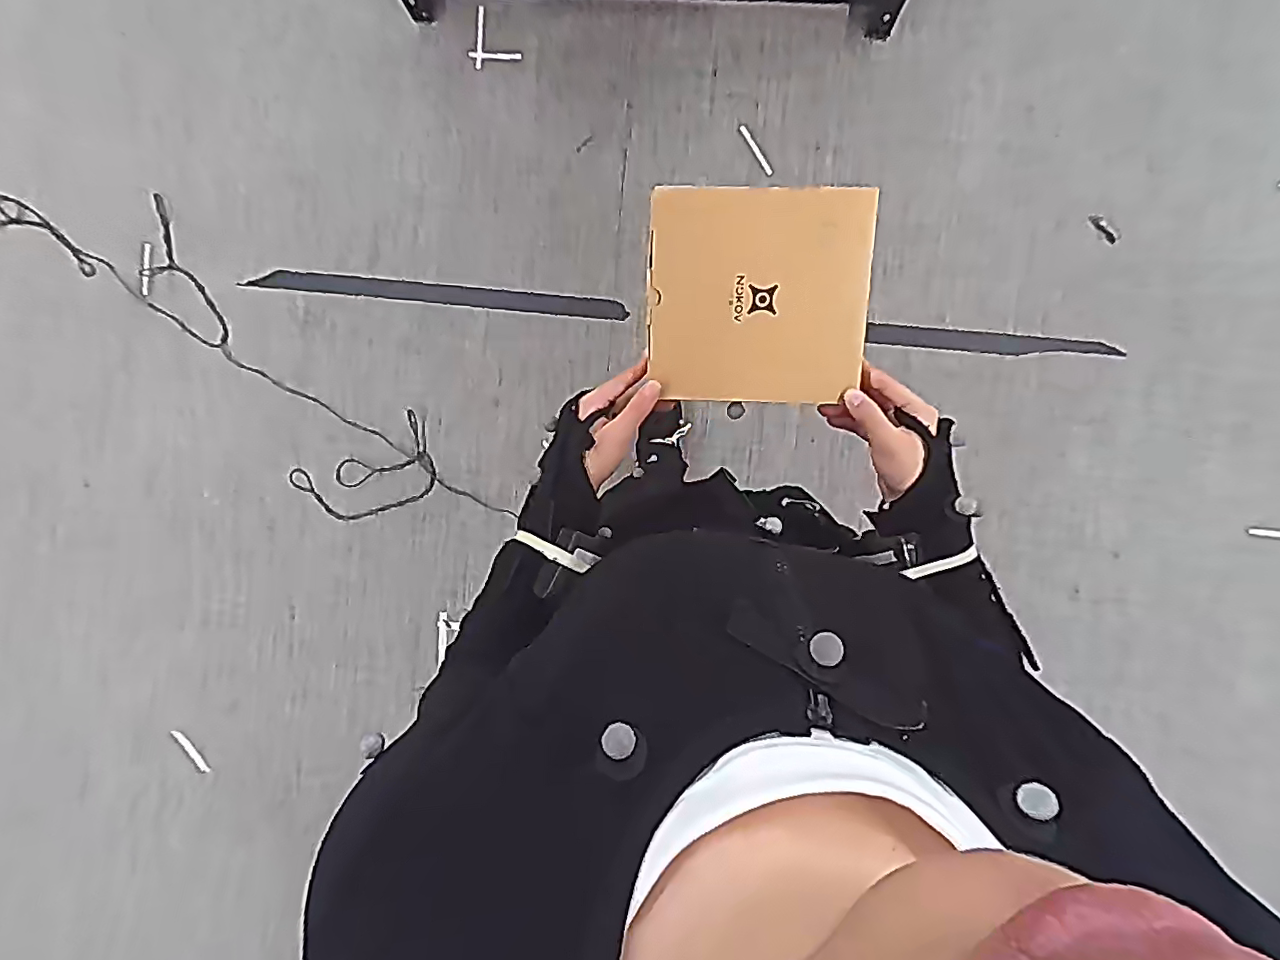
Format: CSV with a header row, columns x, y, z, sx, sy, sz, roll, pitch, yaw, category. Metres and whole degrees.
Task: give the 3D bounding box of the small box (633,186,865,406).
x,y,z,sx,sy,sz,roll,pitch,yaw,category
0.088,-0.161,0.504,0.179,0.176,0.168,2,103,6,small box
